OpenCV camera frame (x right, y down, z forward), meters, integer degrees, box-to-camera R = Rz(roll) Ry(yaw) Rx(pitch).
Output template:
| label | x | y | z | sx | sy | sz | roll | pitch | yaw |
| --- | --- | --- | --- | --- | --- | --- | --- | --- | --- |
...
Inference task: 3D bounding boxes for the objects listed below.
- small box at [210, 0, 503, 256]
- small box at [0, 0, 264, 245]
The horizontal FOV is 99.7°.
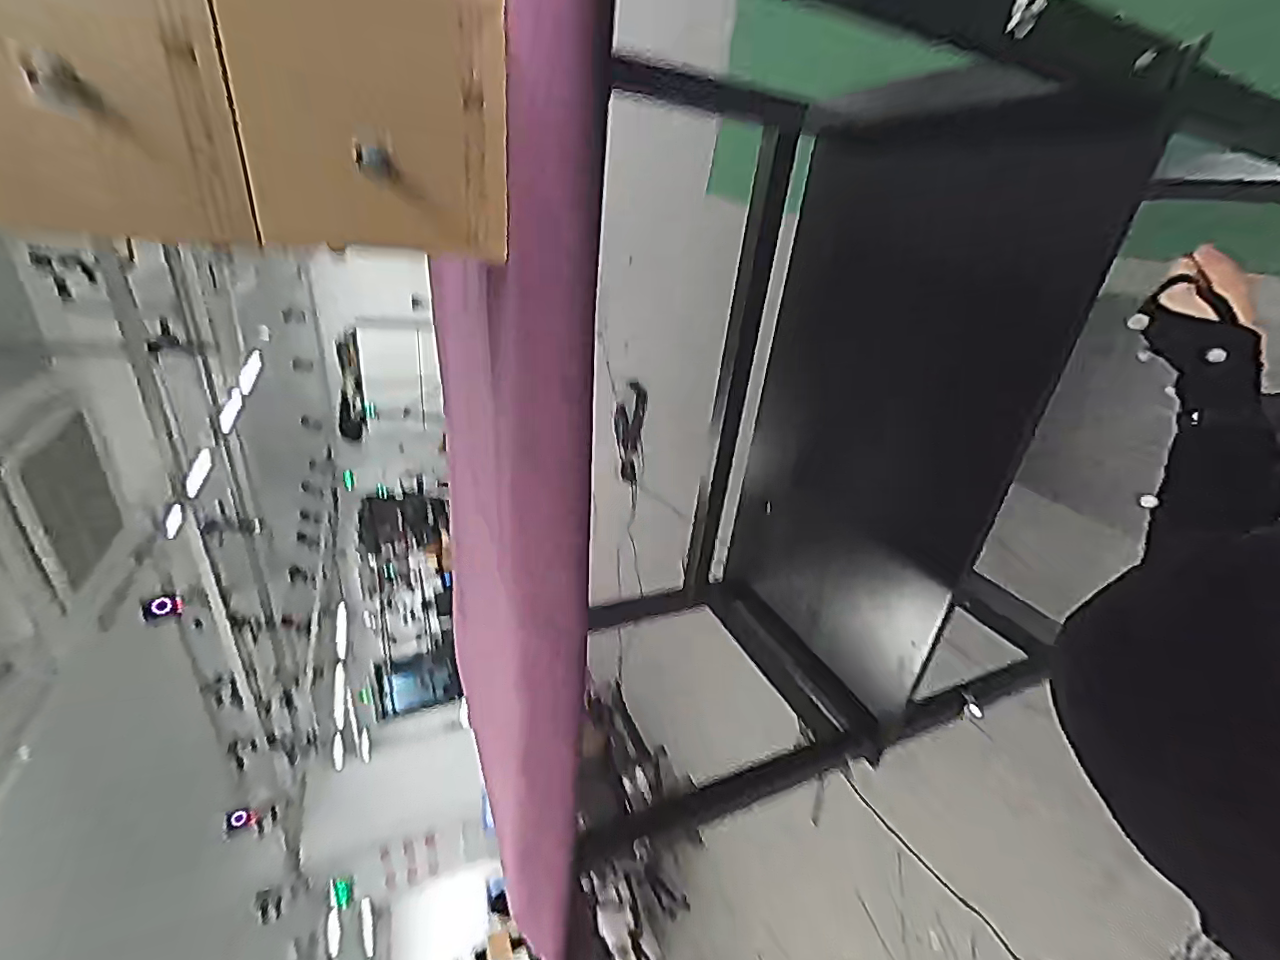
| label | x | y | z | sx | sy | sz | roll | pitch | yaw |
| --- | --- | --- | --- | --- | --- | --- | --- | --- | --- |
| small box | -0.206 | -0.276 | 0.427 | 0.179 | 0.176 | 0.168 | -132 | 41 | -53 |
| small box | -0.356 | -0.257 | 0.362 | 0.179 | 0.176 | 0.168 | -132 | 42 | -52 |
